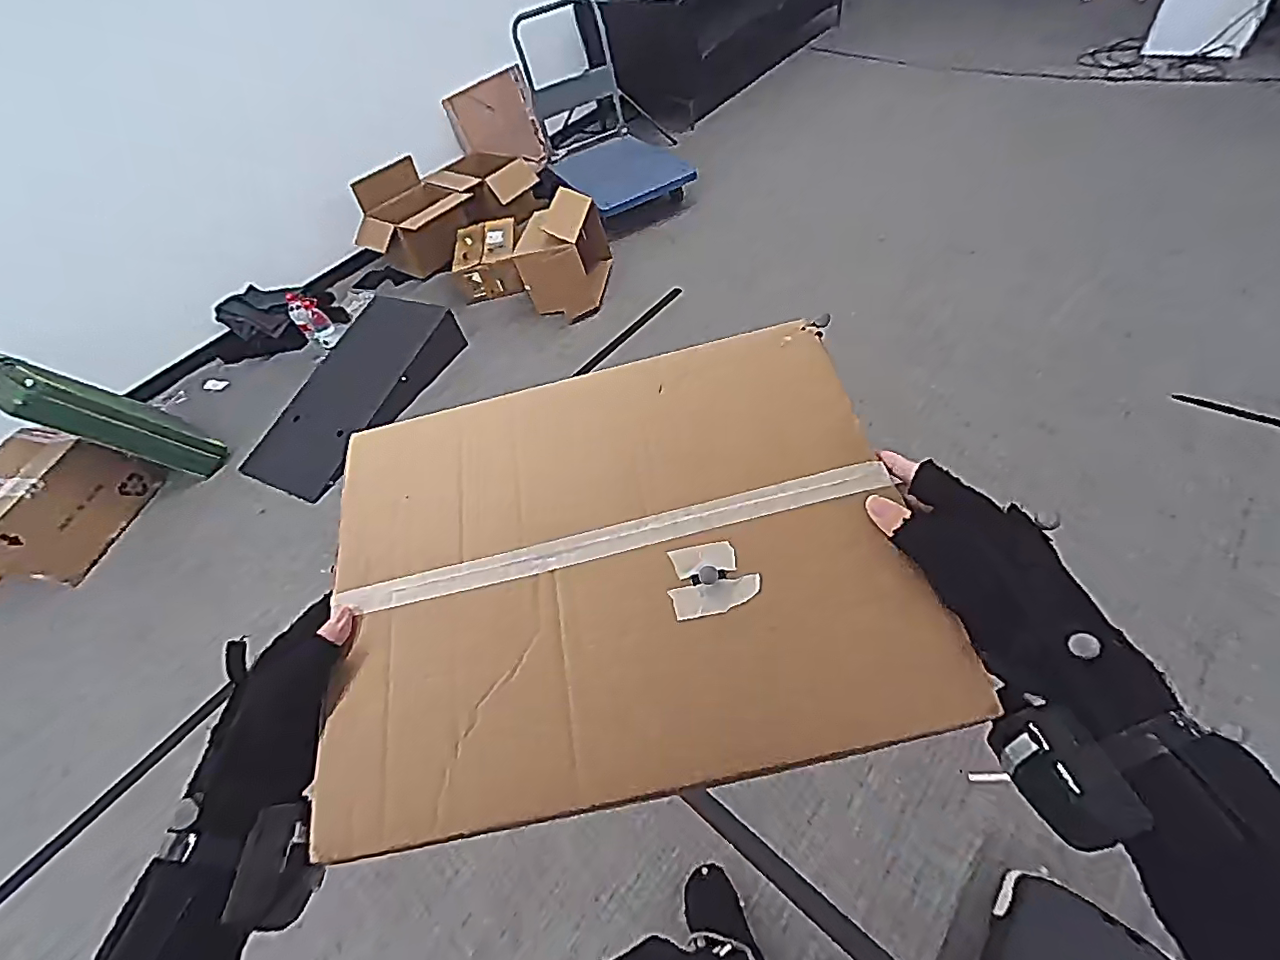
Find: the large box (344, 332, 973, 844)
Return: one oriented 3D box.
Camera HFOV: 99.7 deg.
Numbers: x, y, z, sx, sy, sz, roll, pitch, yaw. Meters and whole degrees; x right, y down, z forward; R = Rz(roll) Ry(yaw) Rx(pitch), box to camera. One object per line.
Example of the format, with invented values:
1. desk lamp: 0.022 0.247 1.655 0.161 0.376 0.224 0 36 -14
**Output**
1. large box: 0.001 0.119 0.528 0.408 0.320 0.320 -14 61 2
